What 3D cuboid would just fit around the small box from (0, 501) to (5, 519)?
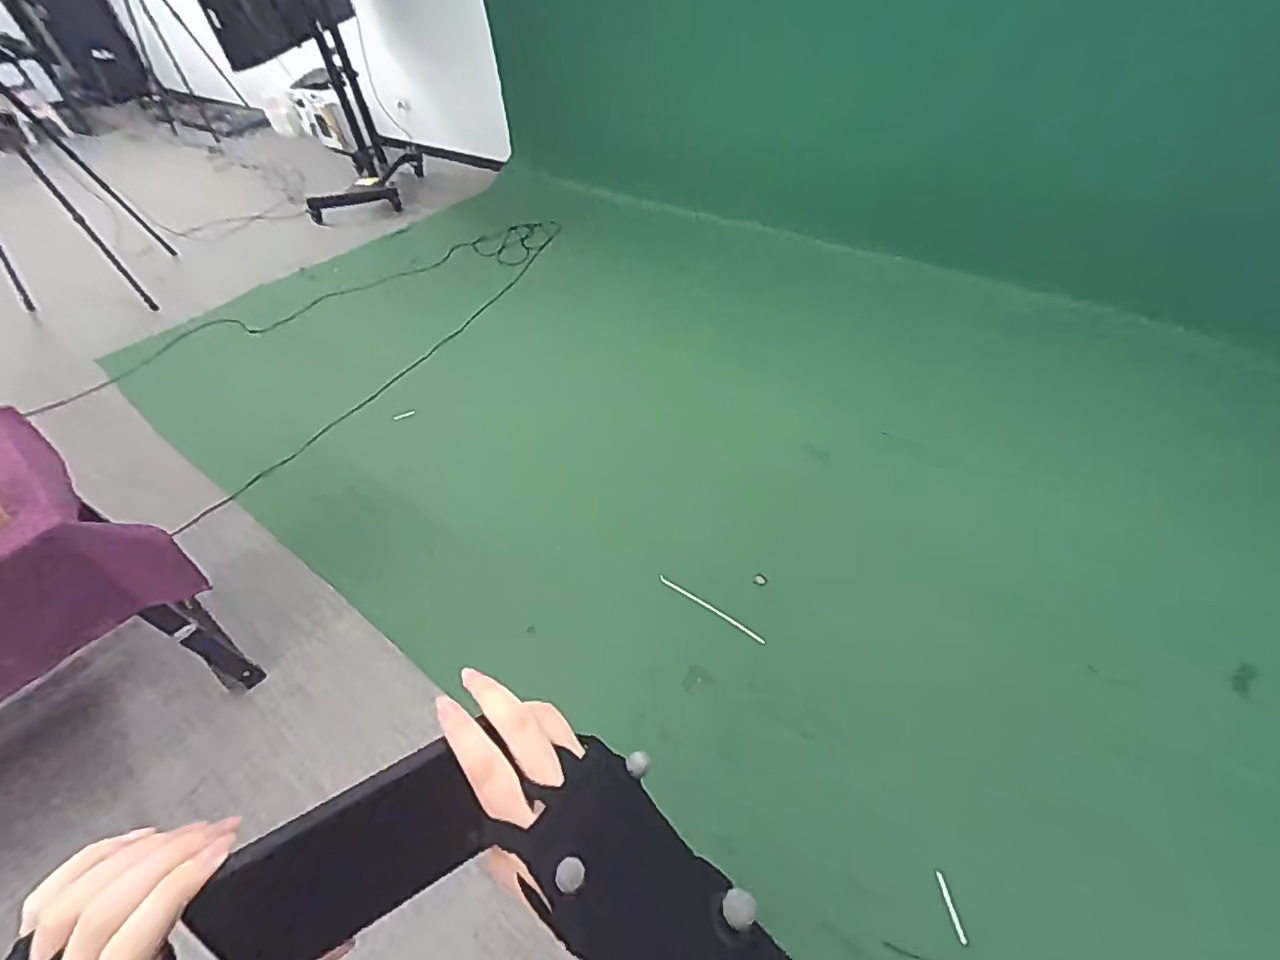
[{"bbox_3d":[-1.339,0.036,0.988,0.168,0.176,0.179,27,55,26],"label":"small box"}]
